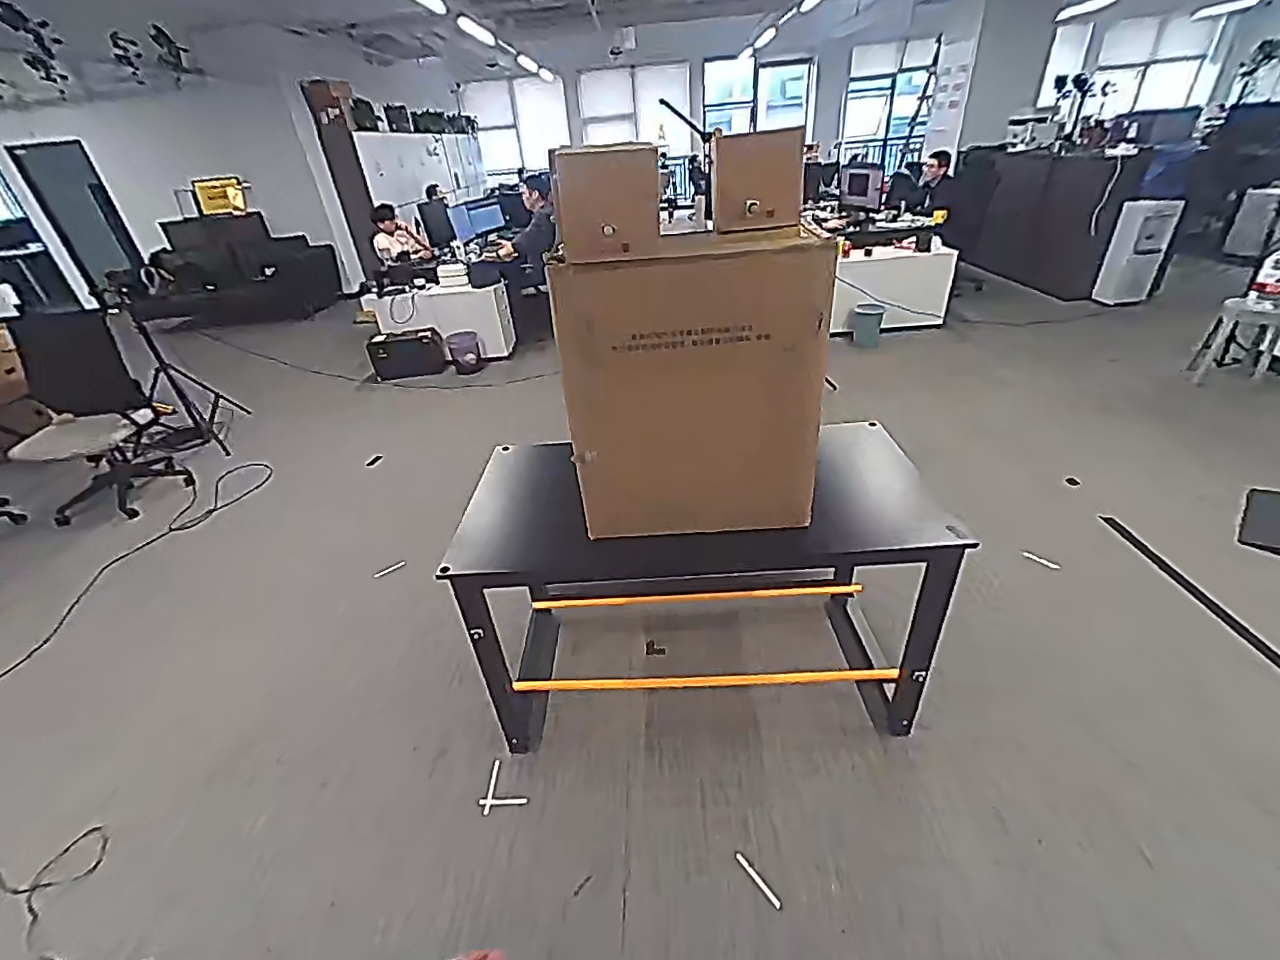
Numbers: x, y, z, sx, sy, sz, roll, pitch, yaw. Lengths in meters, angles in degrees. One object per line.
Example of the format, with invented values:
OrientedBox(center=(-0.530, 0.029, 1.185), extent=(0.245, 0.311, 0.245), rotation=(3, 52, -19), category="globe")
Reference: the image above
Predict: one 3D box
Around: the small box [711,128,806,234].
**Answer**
OrientedBox(center=(0.233, -0.605, 1.100), extent=(0.168, 0.176, 0.179), rotation=(-4, 31, 6), category="small box")
